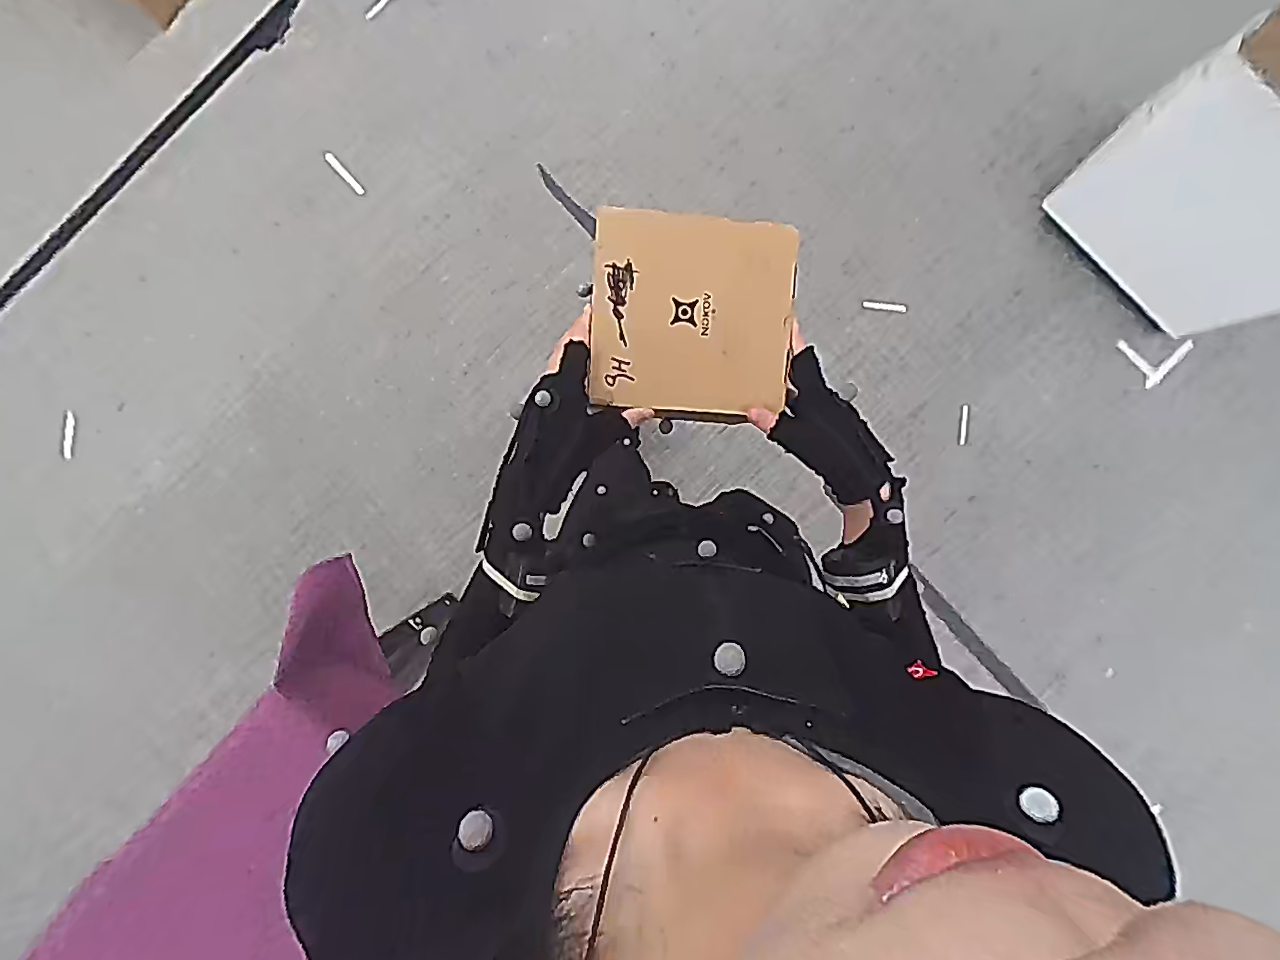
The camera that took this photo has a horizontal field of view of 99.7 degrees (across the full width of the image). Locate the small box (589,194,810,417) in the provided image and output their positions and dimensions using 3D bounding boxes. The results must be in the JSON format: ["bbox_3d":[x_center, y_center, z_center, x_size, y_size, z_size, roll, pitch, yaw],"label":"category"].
[{"bbox_3d":[0.044,-0.152,0.535,0.179,0.176,0.168,4,94,-6],"label":"small box"}]
